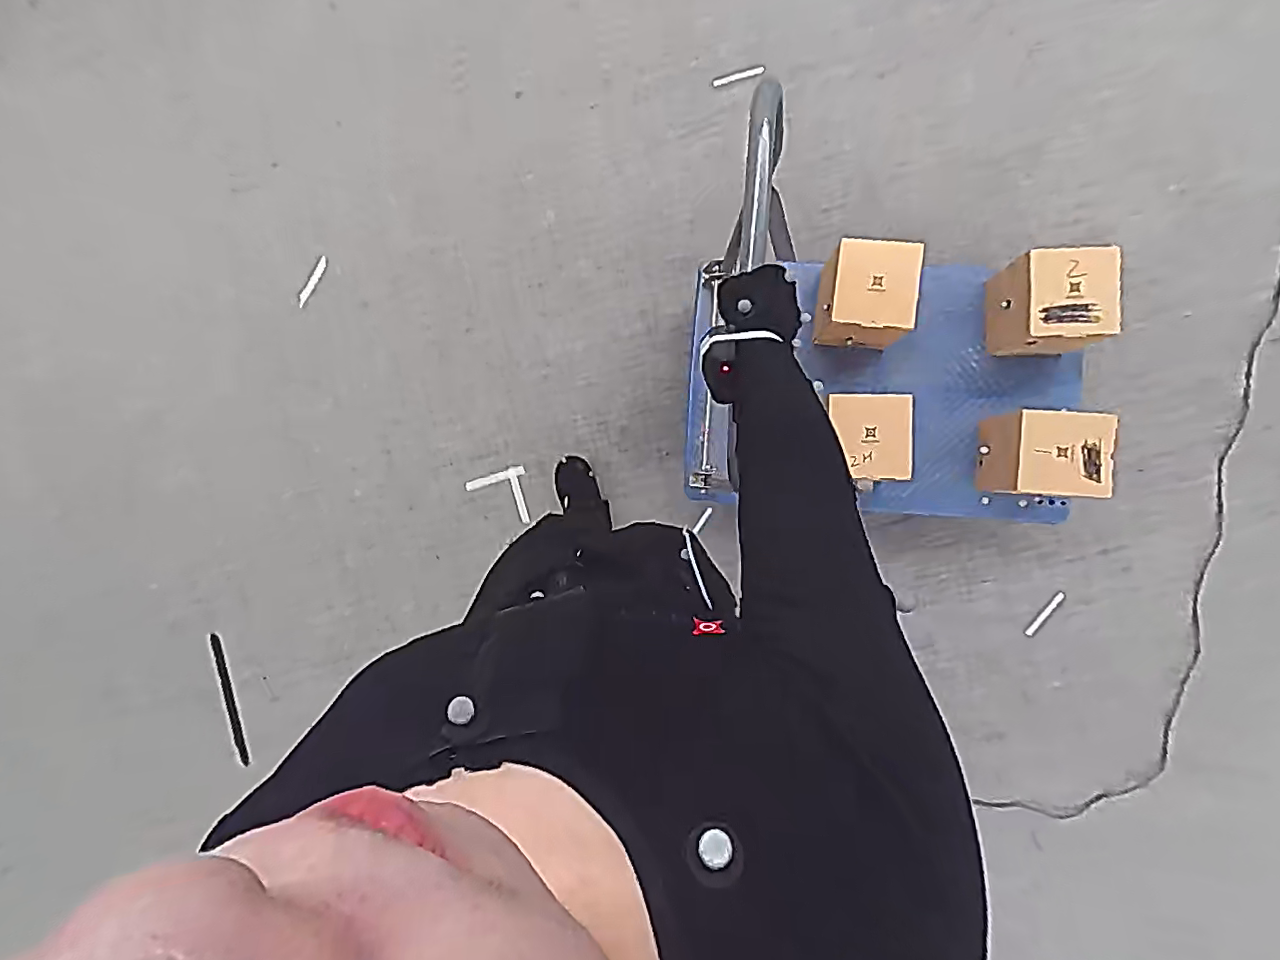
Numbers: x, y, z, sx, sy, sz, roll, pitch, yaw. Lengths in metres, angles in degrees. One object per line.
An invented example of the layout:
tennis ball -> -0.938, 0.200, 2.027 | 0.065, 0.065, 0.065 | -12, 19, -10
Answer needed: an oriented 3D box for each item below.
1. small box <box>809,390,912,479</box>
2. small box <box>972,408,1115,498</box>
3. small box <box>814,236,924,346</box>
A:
small box -> 0.471, -0.093, 1.174 | 0.168, 0.176, 0.179 | 2, 90, 5
small box -> 0.842, -0.055, 1.141 | 0.179, 0.176, 0.168 | 5, 90, 6
small box -> 0.488, -0.403, 1.174 | 0.168, 0.176, 0.179 | 7, 92, 4
